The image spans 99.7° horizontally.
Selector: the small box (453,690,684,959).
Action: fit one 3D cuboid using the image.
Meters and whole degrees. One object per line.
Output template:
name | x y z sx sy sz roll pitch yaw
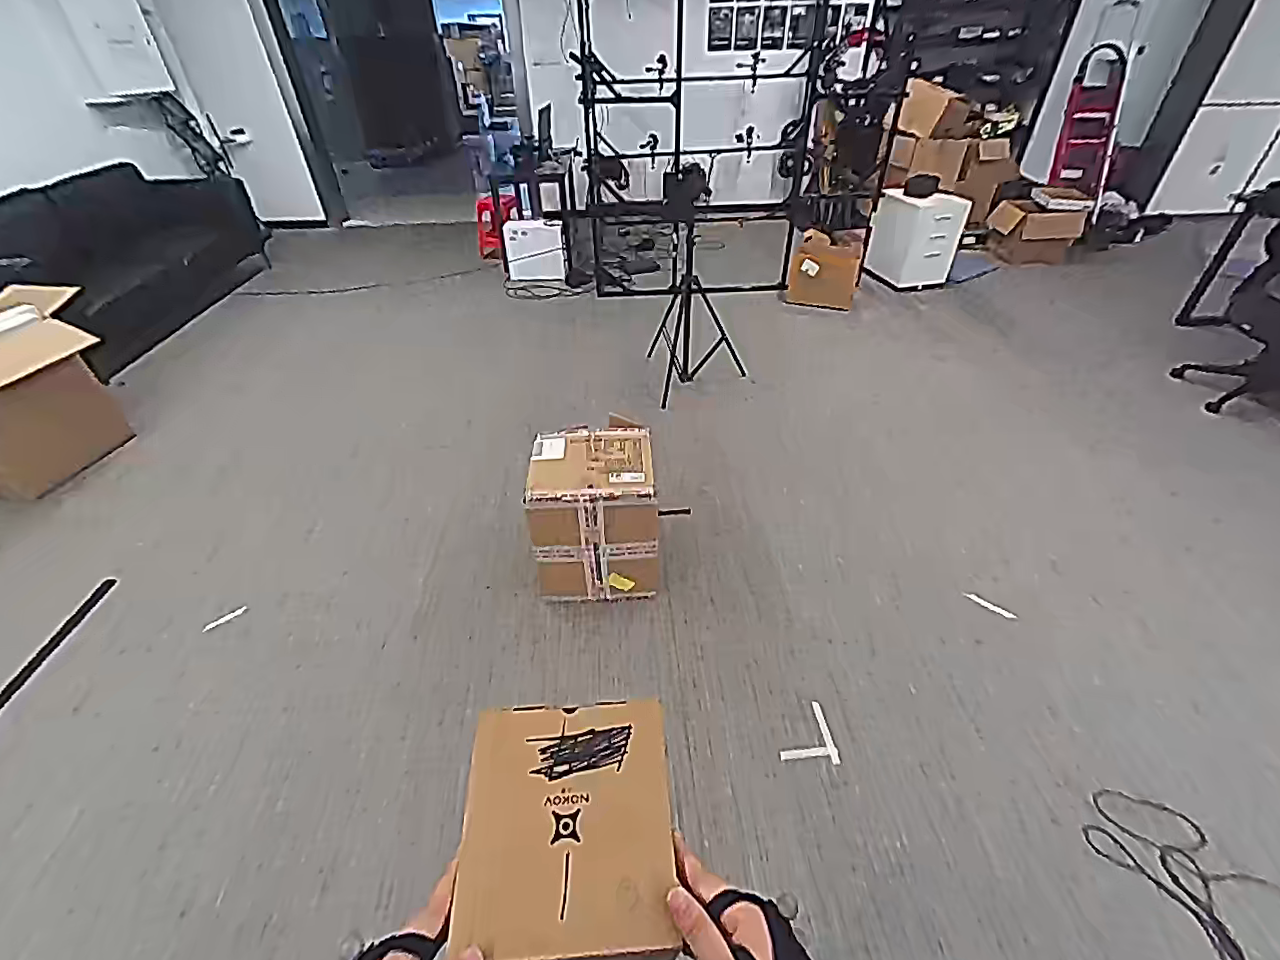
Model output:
small box | -0.055 0.315 0.494 0.168 0.176 0.179 -3 45 -3
